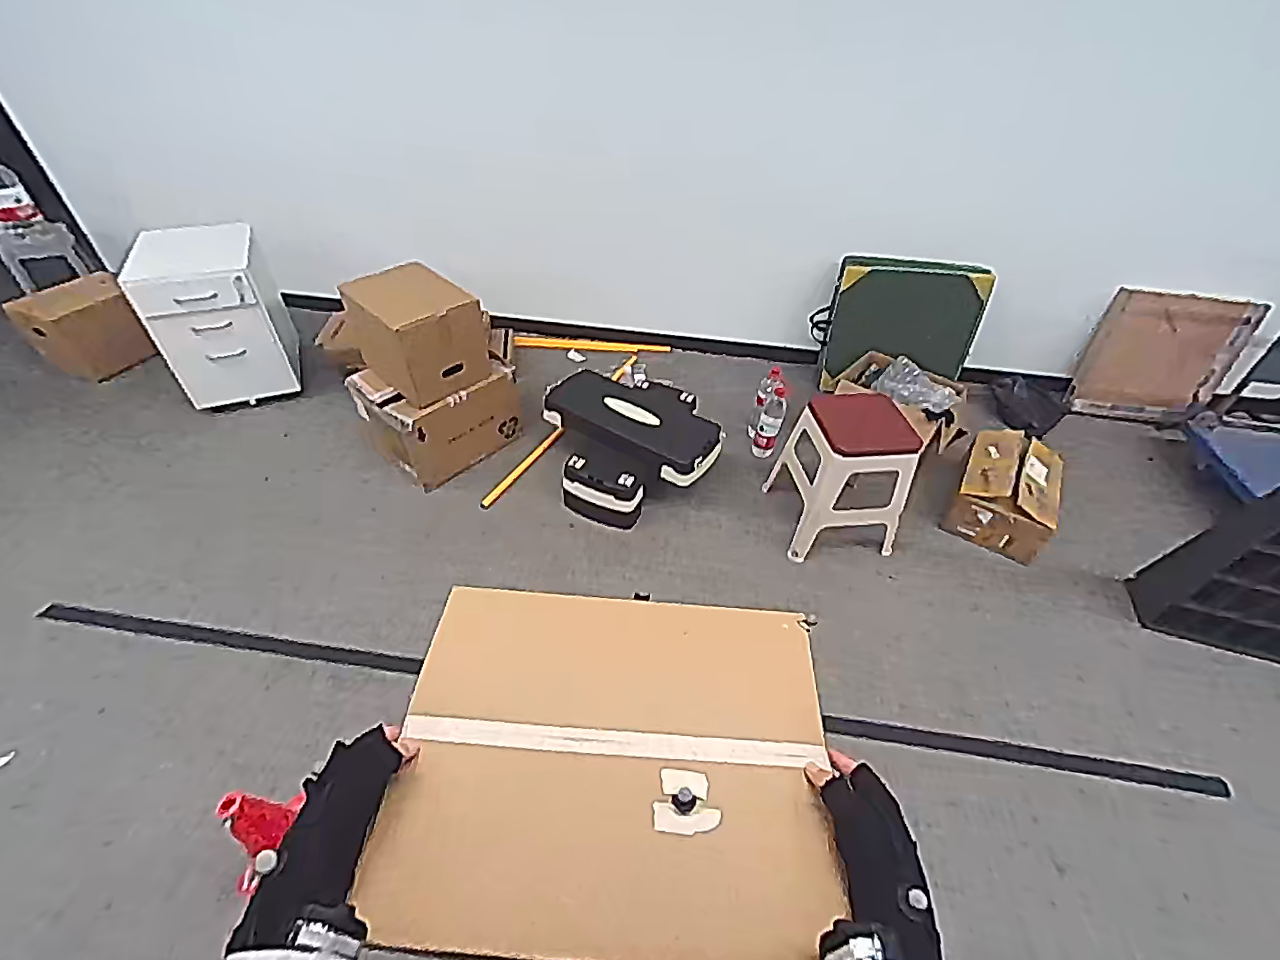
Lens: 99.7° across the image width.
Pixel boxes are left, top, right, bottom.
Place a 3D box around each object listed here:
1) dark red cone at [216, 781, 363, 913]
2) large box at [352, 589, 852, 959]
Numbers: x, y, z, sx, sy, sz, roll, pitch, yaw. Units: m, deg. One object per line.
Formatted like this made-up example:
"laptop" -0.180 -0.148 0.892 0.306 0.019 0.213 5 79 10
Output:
"dark red cone" -0.739 0.692 1.081 0.201 0.394 0.202 13 44 8
"large box" -0.031 0.354 0.630 0.408 0.320 0.320 5 46 1
